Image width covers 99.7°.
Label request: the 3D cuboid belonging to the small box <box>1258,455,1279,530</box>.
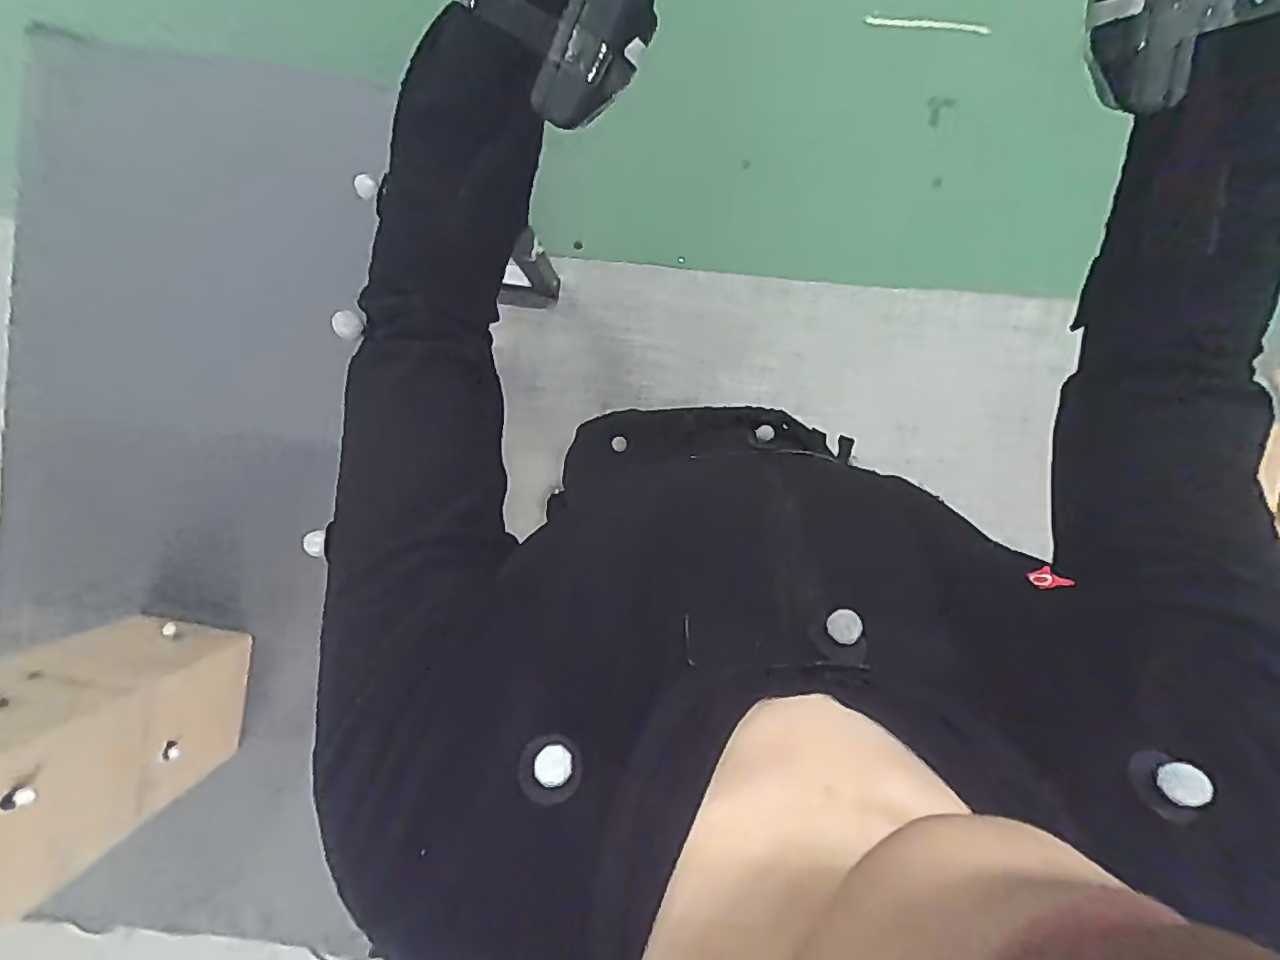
[{"bbox_3d":[1.556,0.045,1.202,0.168,0.176,0.179,9,94,-1],"label":"small box"}]

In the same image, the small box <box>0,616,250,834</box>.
[{"bbox_3d":[-0.629,0.290,0.673,0.168,0.176,0.179,10,93,-1],"label":"small box"}]
